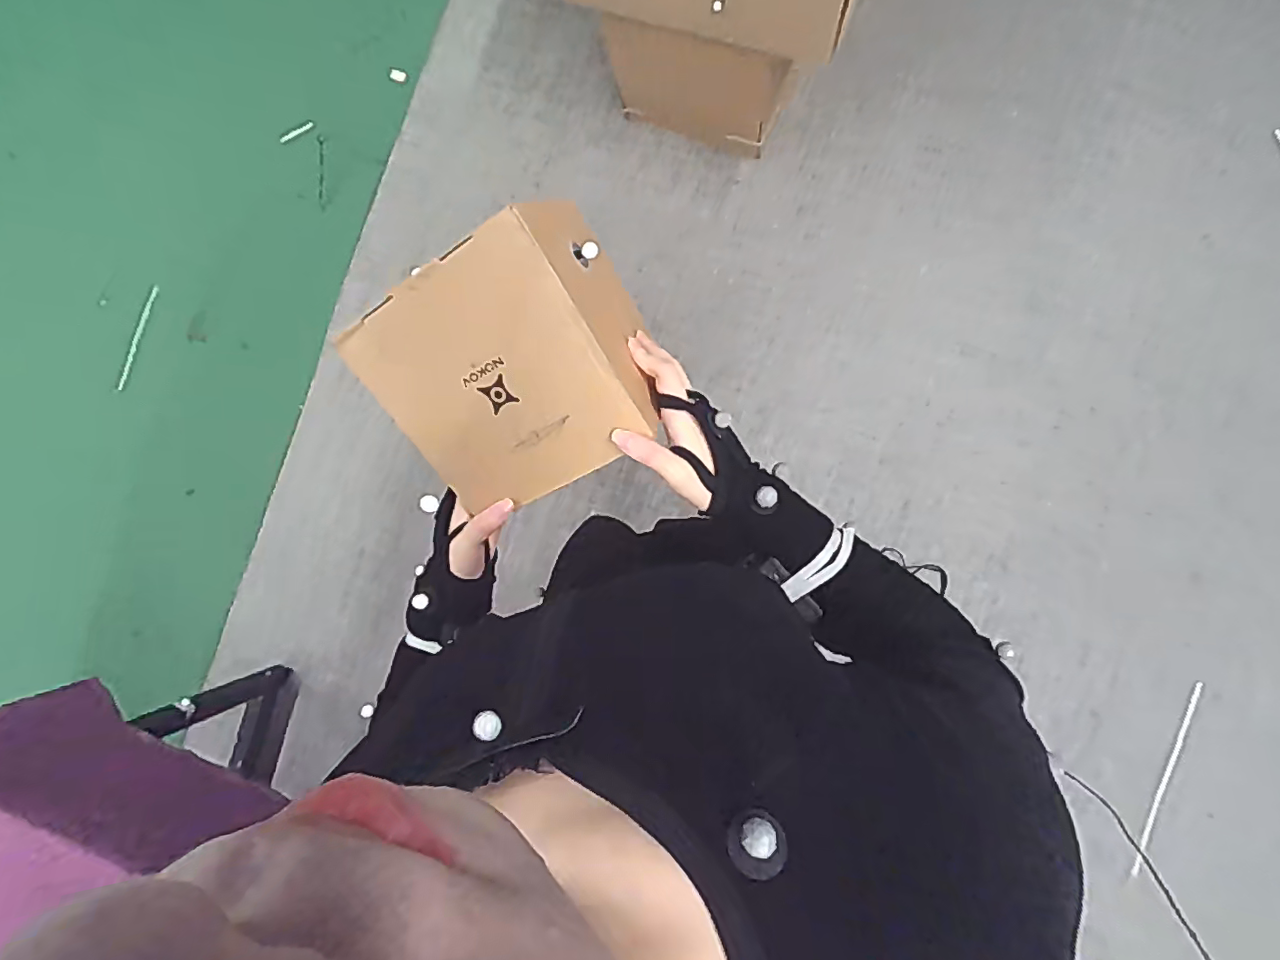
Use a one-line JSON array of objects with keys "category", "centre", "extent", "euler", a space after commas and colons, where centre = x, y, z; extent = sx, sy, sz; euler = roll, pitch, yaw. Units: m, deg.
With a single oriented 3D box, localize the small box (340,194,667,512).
[{"category": "small box", "centre": [-0.091, -0.109, 0.451], "extent": [0.168, 0.176, 0.179], "euler": [-25, 112, 19]}]
